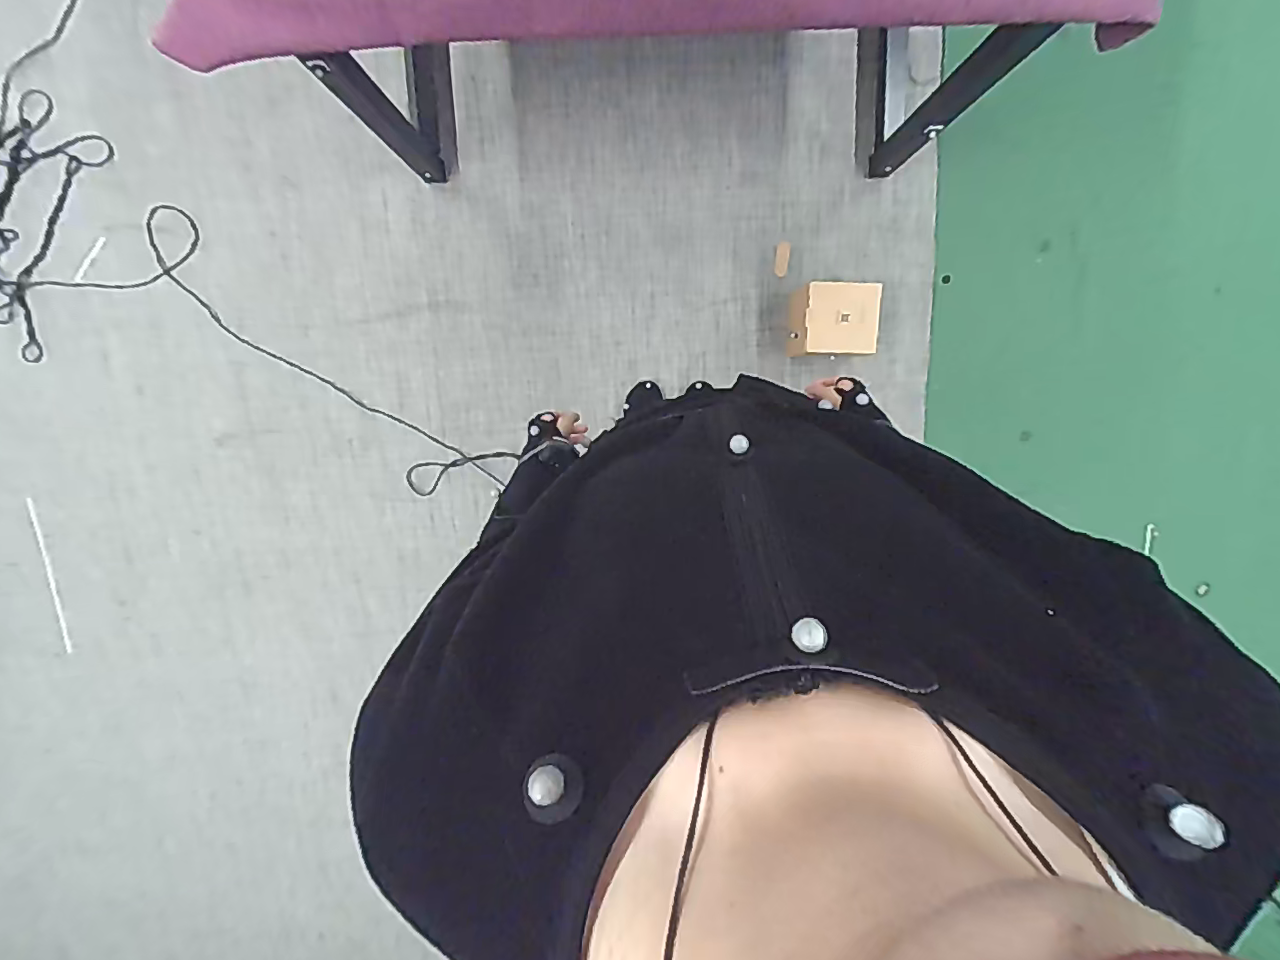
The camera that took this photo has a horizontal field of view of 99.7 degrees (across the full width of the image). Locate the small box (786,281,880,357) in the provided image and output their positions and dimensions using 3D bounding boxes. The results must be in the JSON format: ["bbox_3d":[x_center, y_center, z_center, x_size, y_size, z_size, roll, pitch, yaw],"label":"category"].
[{"bbox_3d":[0.477,-0.400,1.367,0.179,0.176,0.168,1,100,-1],"label":"small box"}]
